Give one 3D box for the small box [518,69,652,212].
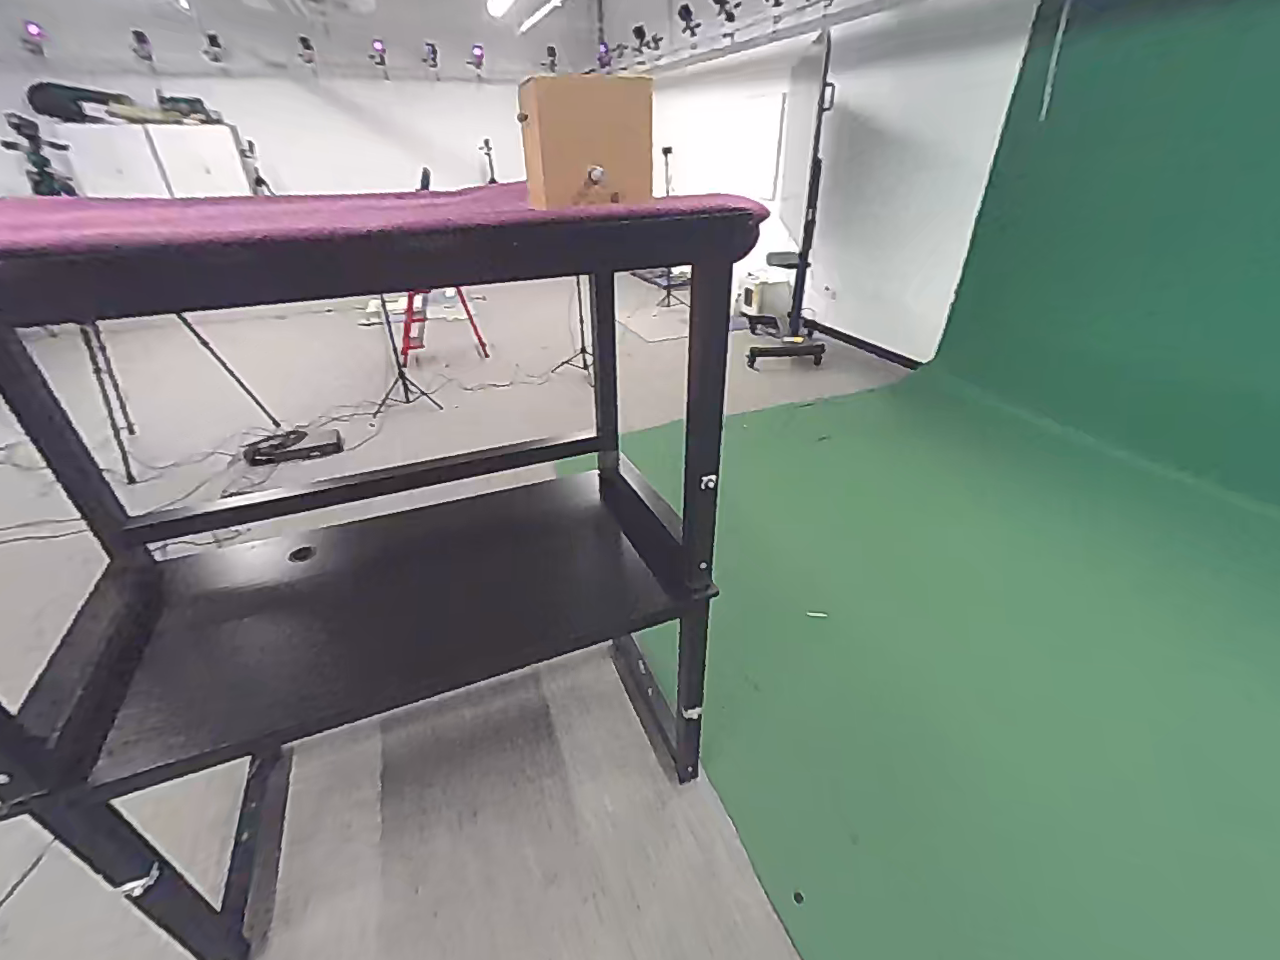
[{"bbox_3d":[-0.085,-0.507,0.819,0.168,0.176,0.179,-11,34,-14],"label":"small box"}]
